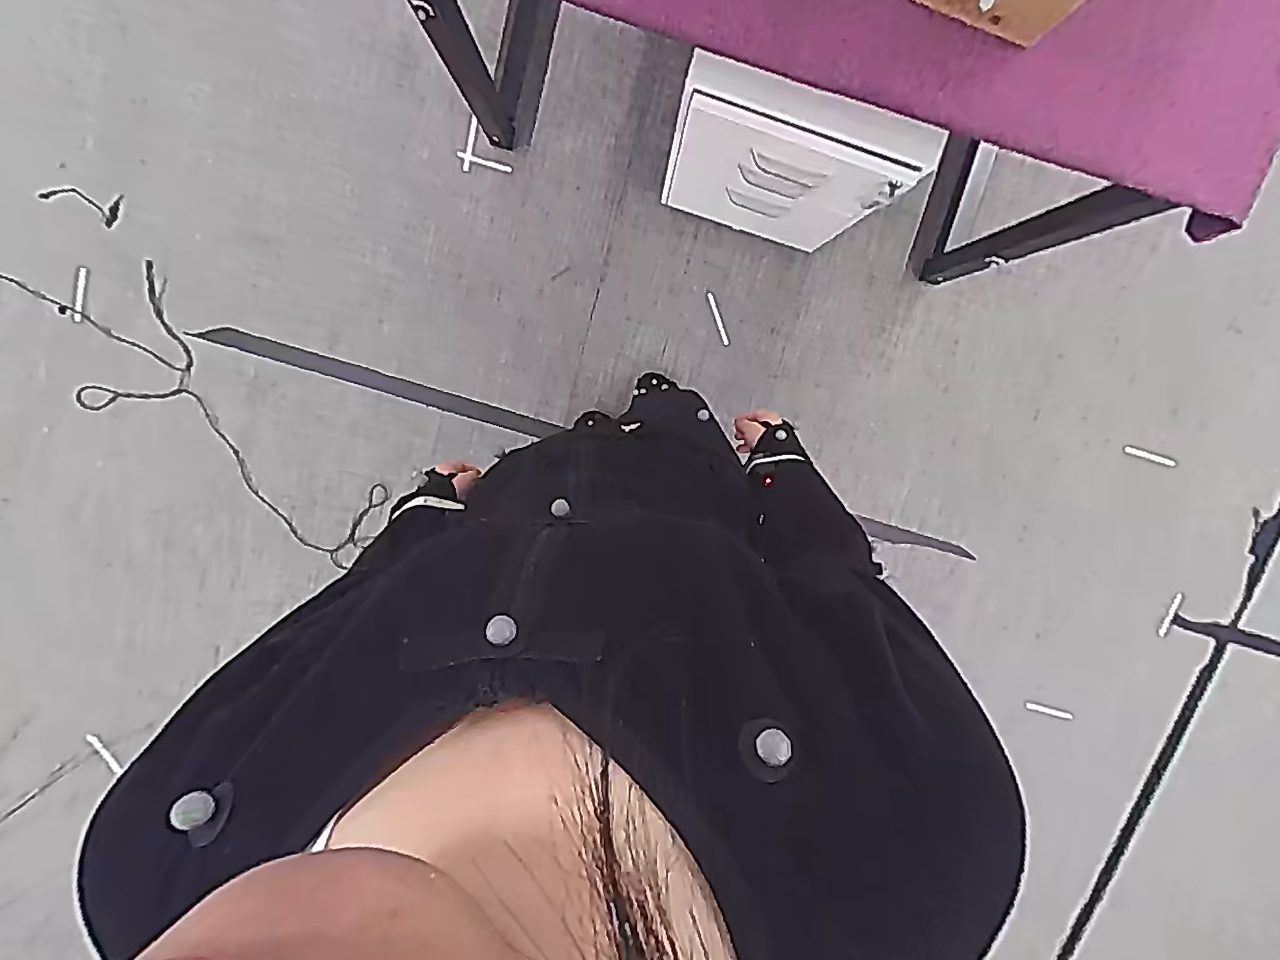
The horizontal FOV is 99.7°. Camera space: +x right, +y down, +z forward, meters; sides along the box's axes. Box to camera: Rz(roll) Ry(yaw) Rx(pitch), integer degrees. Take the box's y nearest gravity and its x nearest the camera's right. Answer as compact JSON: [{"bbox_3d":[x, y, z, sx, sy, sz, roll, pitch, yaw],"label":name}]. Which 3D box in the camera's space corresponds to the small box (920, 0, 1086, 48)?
[{"bbox_3d":[0.427,-0.615,0.561,0.168,0.176,0.179,19,99,-4],"label":"small box"}]
